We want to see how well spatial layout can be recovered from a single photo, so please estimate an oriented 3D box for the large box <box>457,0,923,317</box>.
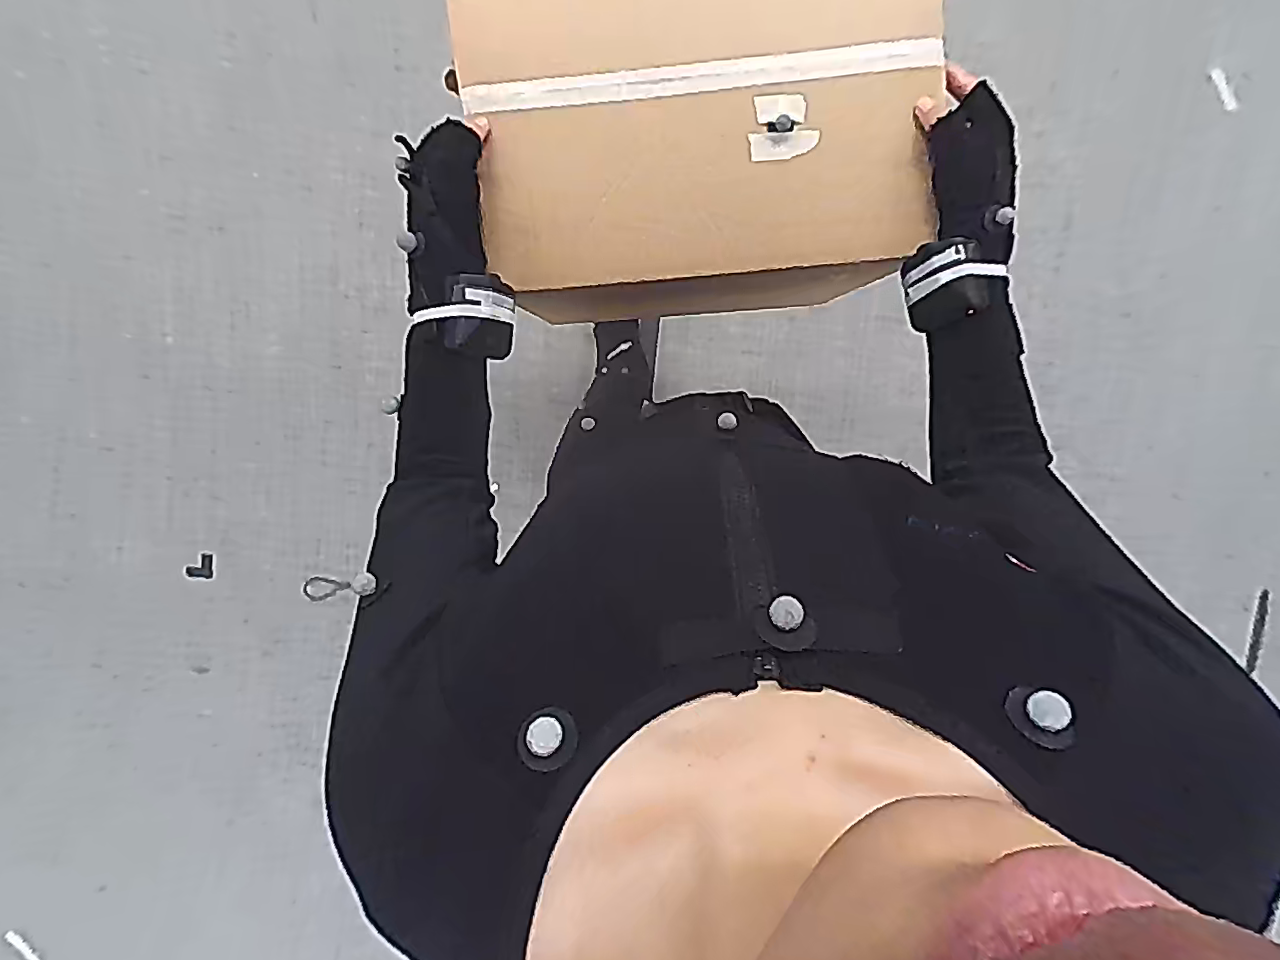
[{"bbox_3d":[0.047,-0.380,0.620,0.408,0.320,0.320,-5,101,1],"label":"large box"}]
